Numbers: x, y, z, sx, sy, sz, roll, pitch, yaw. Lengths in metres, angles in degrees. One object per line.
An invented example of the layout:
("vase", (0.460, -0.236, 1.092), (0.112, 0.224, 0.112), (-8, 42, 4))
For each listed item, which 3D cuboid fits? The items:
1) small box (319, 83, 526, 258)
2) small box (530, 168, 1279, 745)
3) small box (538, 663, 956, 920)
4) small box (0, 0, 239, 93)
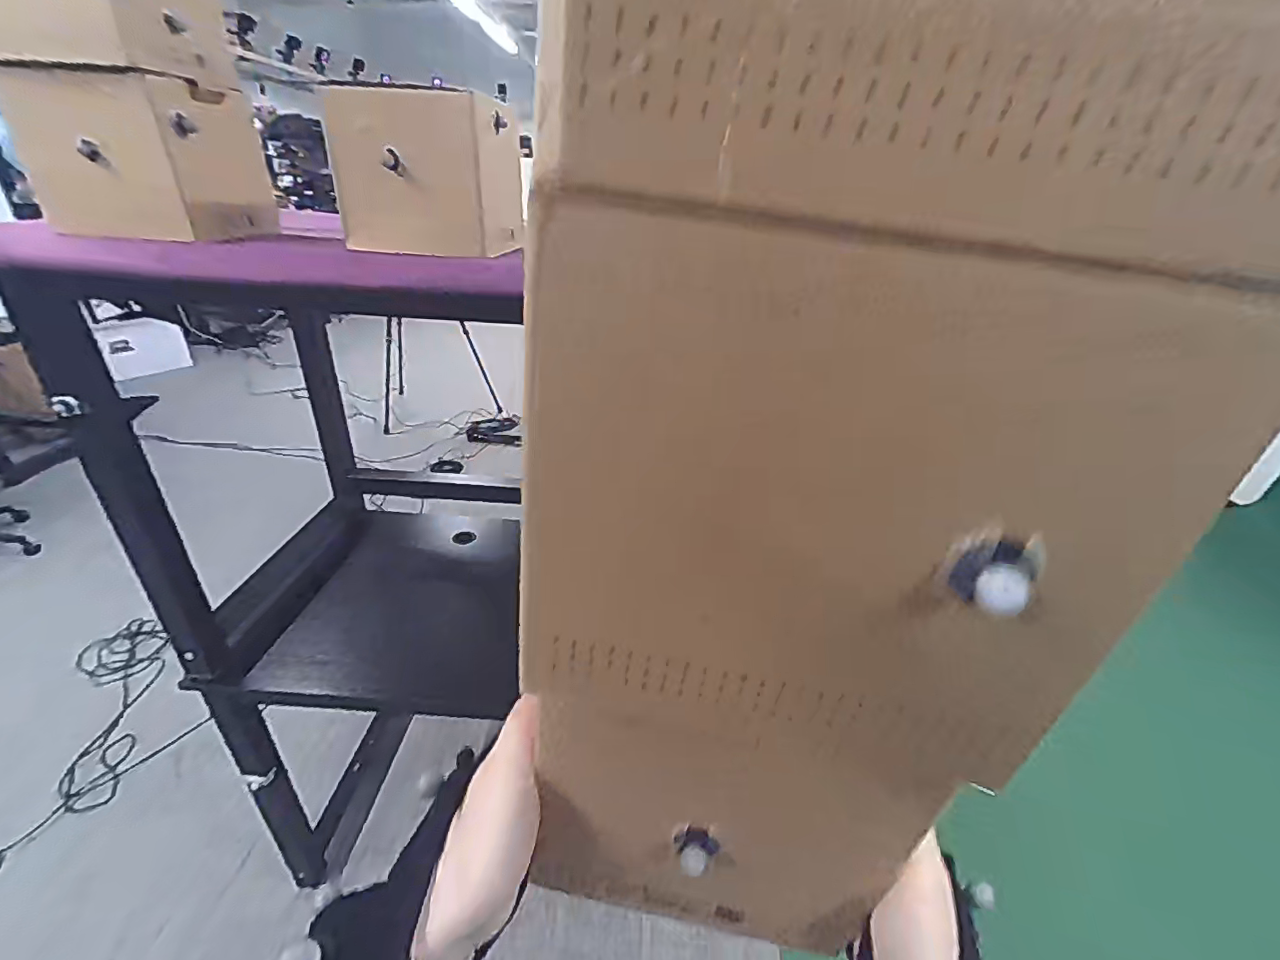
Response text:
("small box", (-0.251, -0.375, 0.673), (0.179, 0.176, 0.168), (4, 29, 3))
("small box", (0.062, -0.021, 0.226), (0.179, 0.176, 0.168), (9, 28, 3))
("small box", (0.044, 0.111, 0.319), (0.168, 0.176, 0.179), (11, 30, 4))
("small box", (-0.586, -0.532, 0.578), (0.179, 0.176, 0.168), (4, 29, 0))
